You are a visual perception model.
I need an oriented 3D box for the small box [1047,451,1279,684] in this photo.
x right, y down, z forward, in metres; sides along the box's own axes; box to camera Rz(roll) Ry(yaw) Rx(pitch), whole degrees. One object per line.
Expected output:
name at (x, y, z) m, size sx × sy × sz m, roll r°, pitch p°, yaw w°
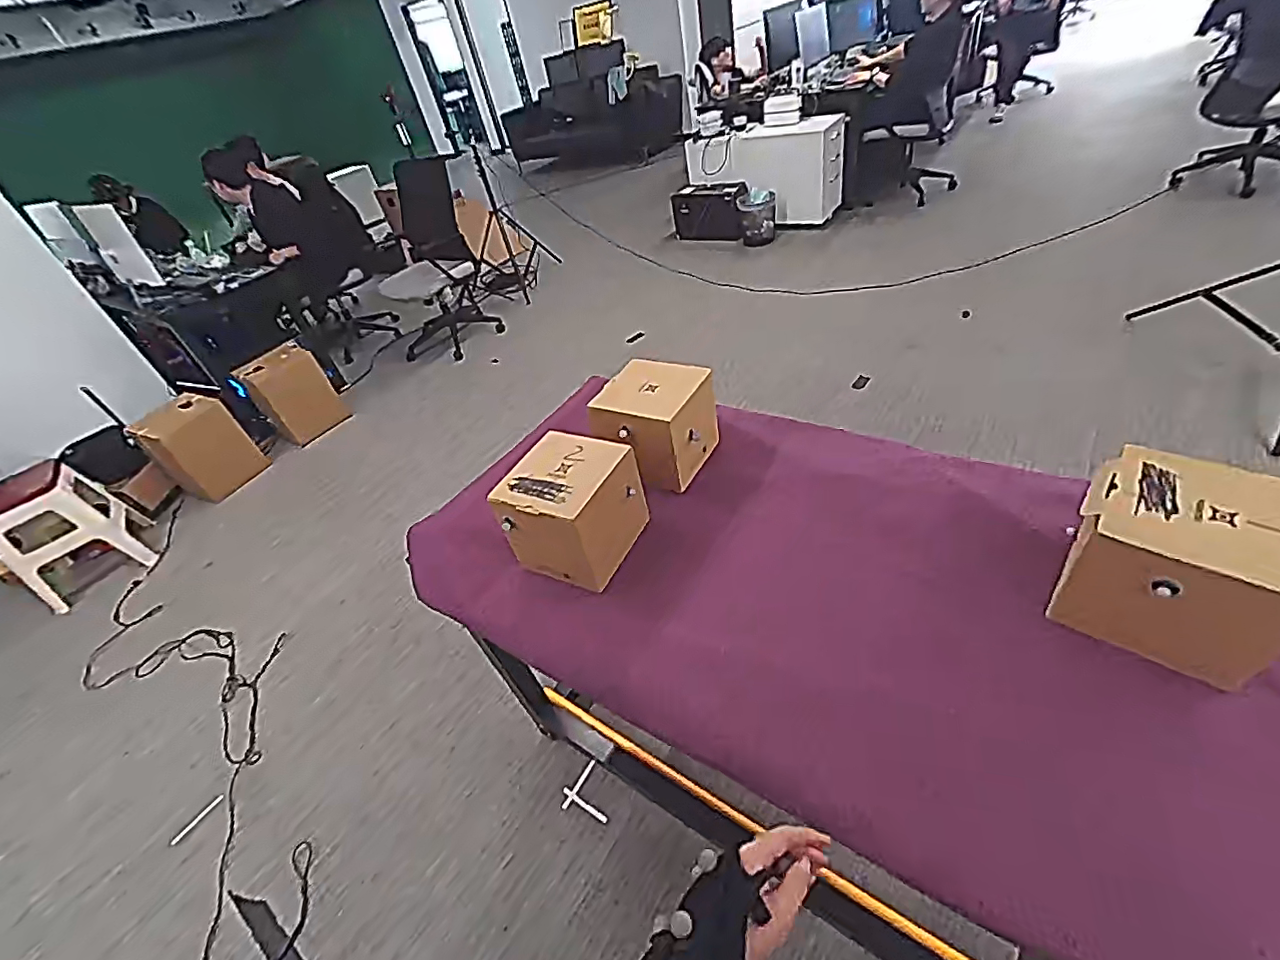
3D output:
small box at (0.608, 0.099, 0.621) m, size 0.179 × 0.176 × 0.168 m, roll 24°, pitch 55°, yaw 35°

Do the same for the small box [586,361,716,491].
small box at (0.031, -0.101, 1.018) m, size 0.179 × 0.176 × 0.168 m, roll 15°, pitch 48°, yaw 29°
